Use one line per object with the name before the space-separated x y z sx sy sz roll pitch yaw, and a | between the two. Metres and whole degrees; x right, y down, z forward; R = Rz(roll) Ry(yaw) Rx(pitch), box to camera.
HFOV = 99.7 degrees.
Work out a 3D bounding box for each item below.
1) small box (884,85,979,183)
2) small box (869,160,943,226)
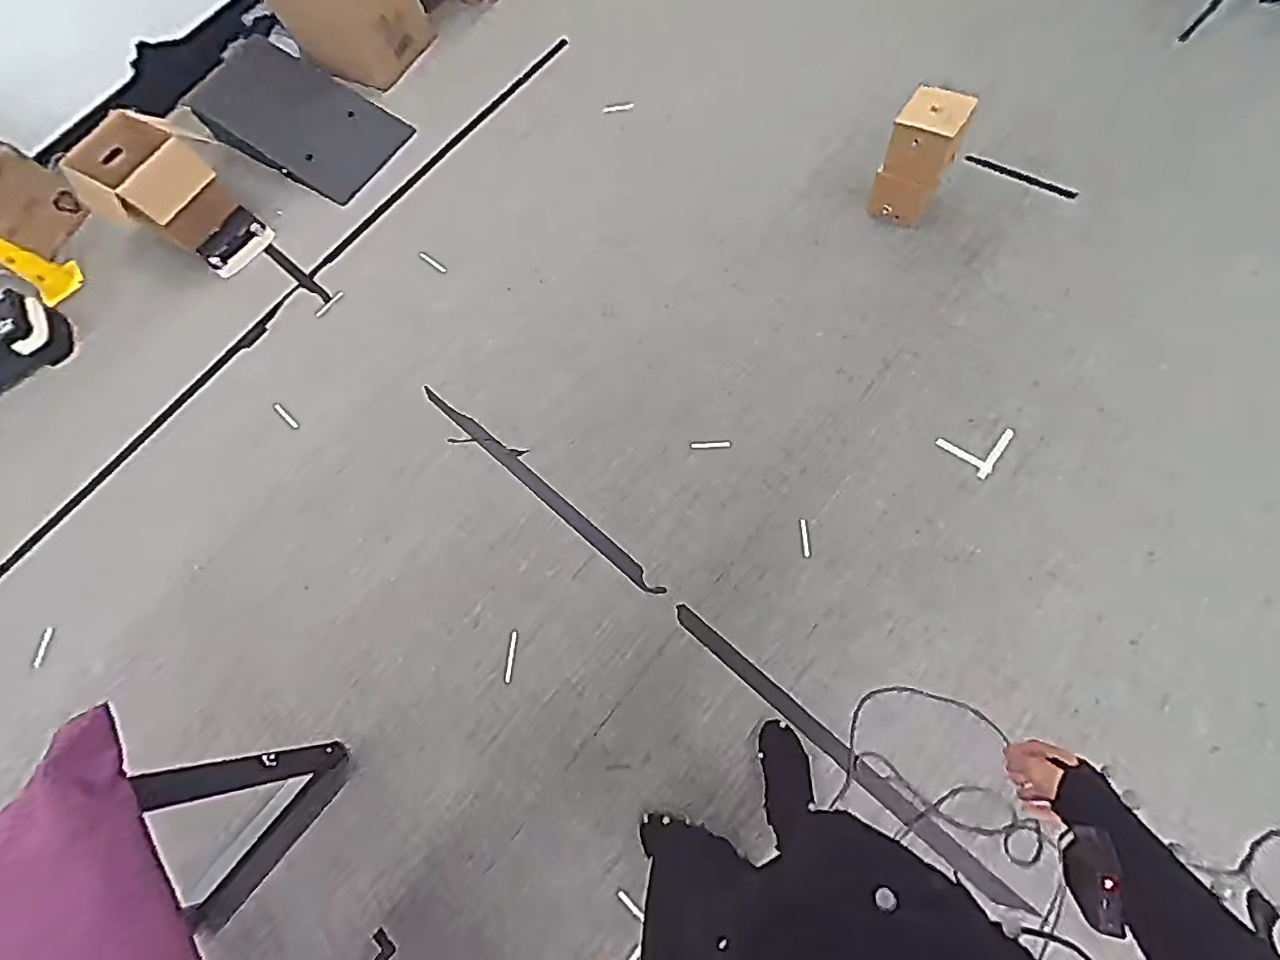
small box | 0.864 -1.032 1.621 0.179 0.176 0.168 32 79 20
small box | 0.881 -0.980 1.777 0.168 0.176 0.179 33 80 20
